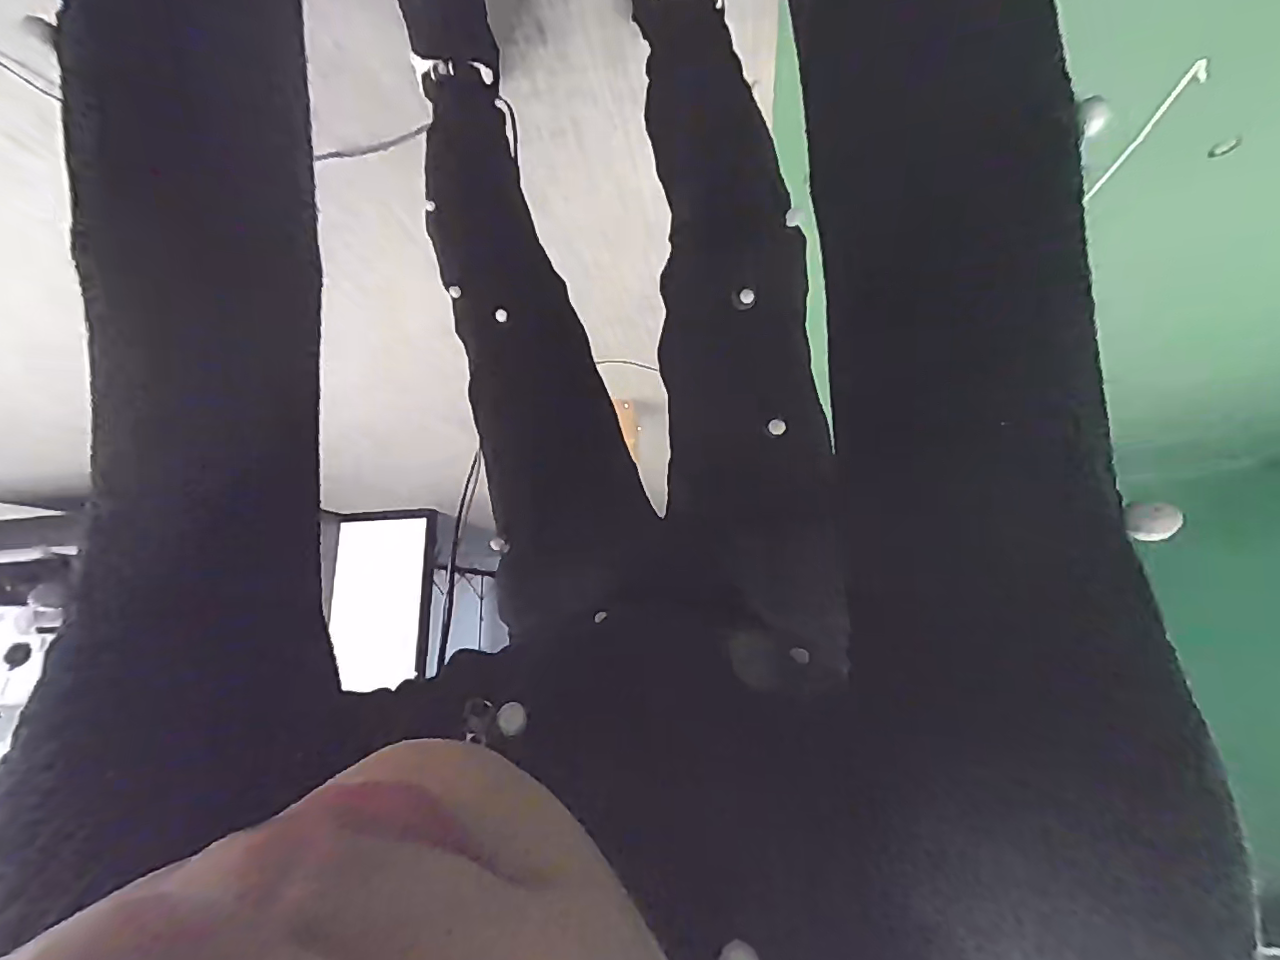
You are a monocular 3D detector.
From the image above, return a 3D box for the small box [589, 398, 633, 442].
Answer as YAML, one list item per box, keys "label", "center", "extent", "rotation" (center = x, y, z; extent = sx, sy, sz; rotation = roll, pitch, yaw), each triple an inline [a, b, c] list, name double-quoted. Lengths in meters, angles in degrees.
- label: "small box"
  center: [-0.119, -0.236, 2.228]
  extent: [0.168, 0.176, 0.179]
  rotation: [-1, 168, 5]
